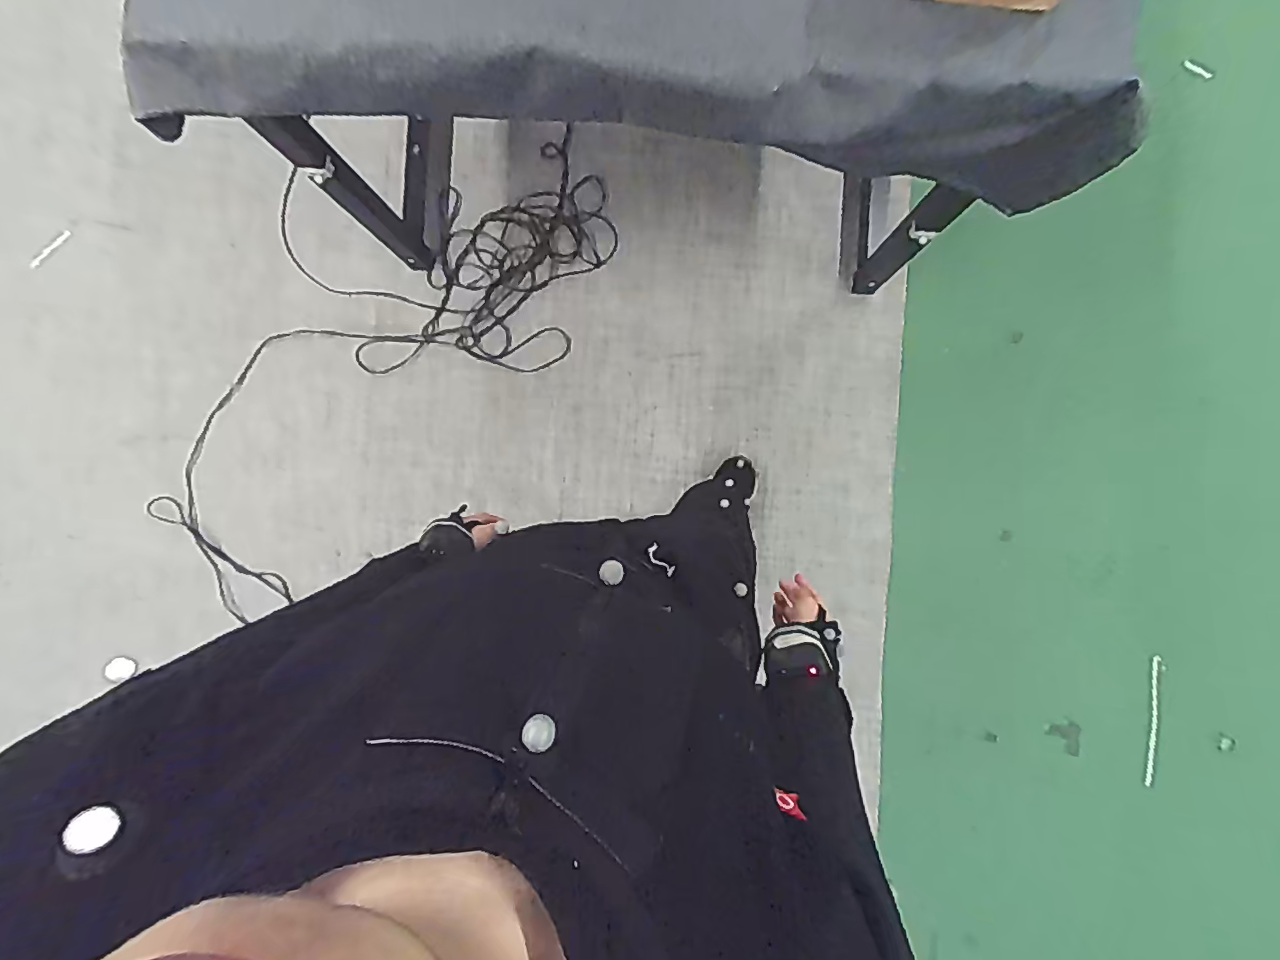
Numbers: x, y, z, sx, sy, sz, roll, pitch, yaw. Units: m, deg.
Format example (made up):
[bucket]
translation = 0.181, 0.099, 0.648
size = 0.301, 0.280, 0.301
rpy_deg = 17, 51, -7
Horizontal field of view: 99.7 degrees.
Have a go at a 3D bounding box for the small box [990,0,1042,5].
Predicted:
[small box]
translation = 0.399, -0.638, 0.549
size = 0.179, 0.176, 0.168
rpy_deg = 9, 91, 1
